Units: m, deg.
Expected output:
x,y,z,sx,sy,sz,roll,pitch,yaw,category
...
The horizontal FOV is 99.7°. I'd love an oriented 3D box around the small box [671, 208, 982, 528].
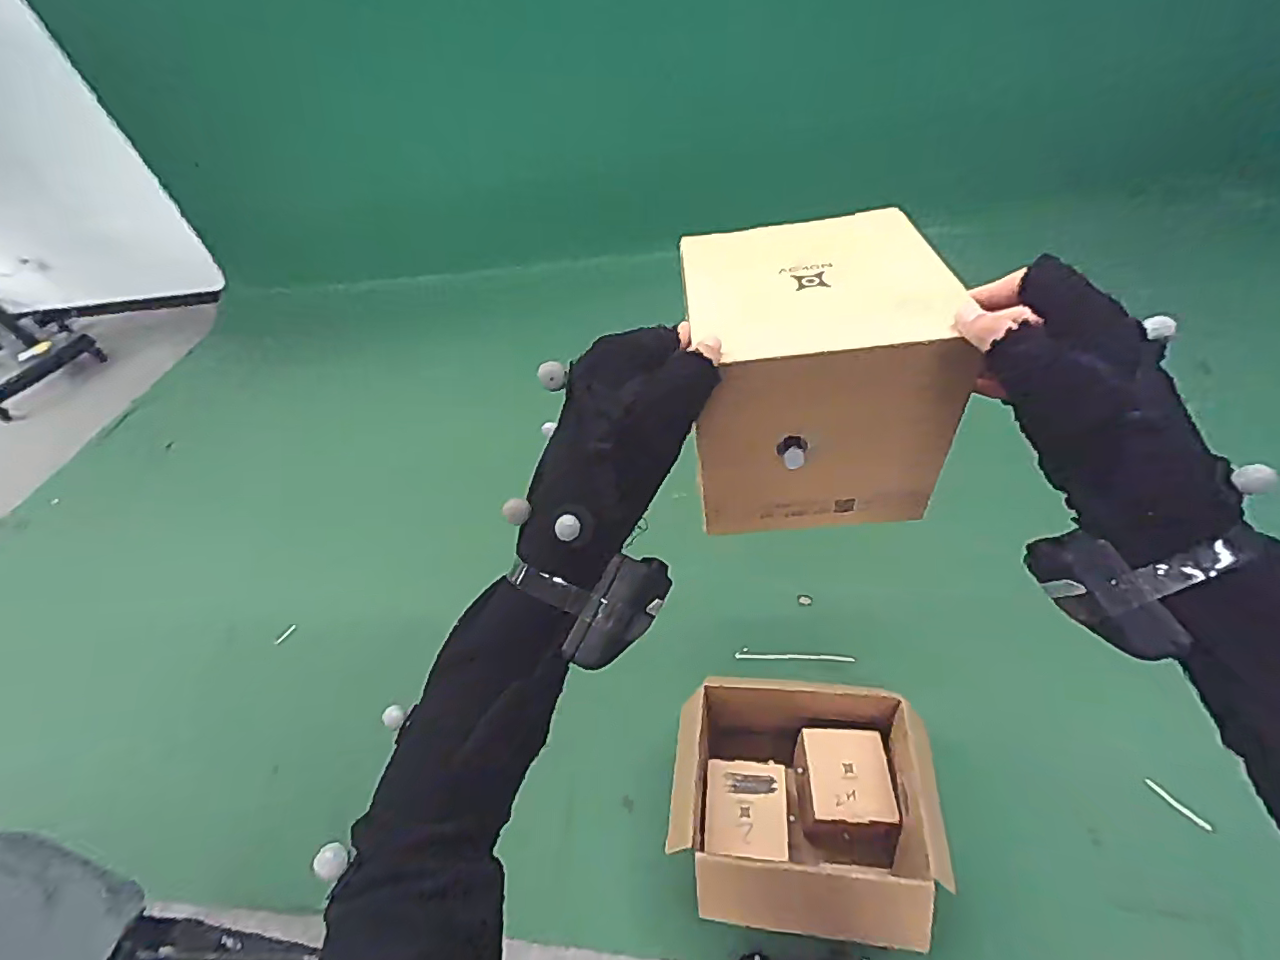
x,y,z,sx,sy,sz,roll,pitch,yaw,category
0.116,-0.077,0.410,0.168,0.176,0.179,-6,45,6,small box
